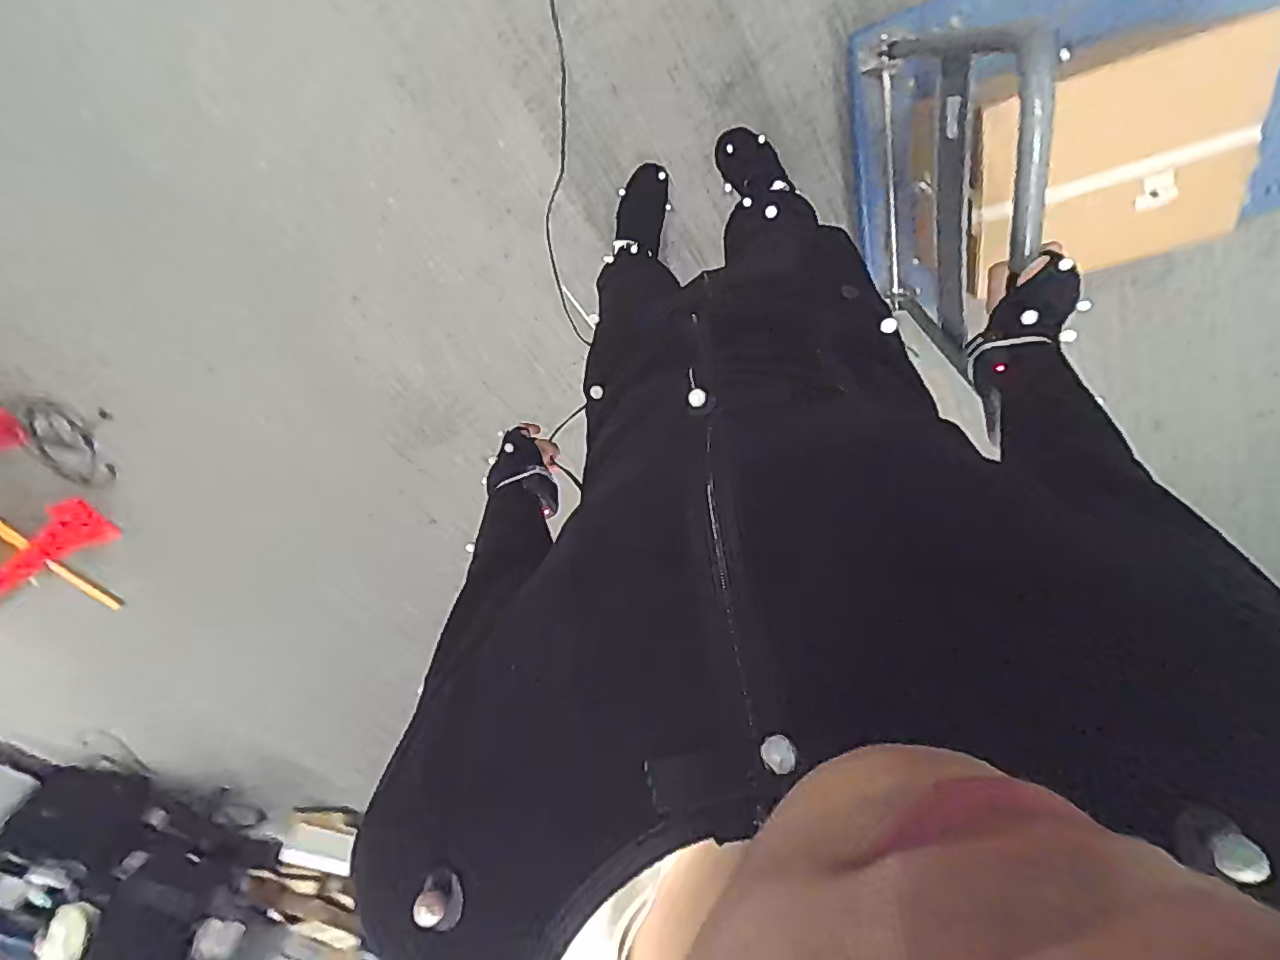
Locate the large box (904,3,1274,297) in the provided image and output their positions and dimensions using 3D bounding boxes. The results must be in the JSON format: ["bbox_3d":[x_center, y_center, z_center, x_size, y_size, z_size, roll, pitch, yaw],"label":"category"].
[{"bbox_3d":[0.759,-0.589,1.003,0.408,0.320,0.320,-14,124,12],"label":"large box"}]
